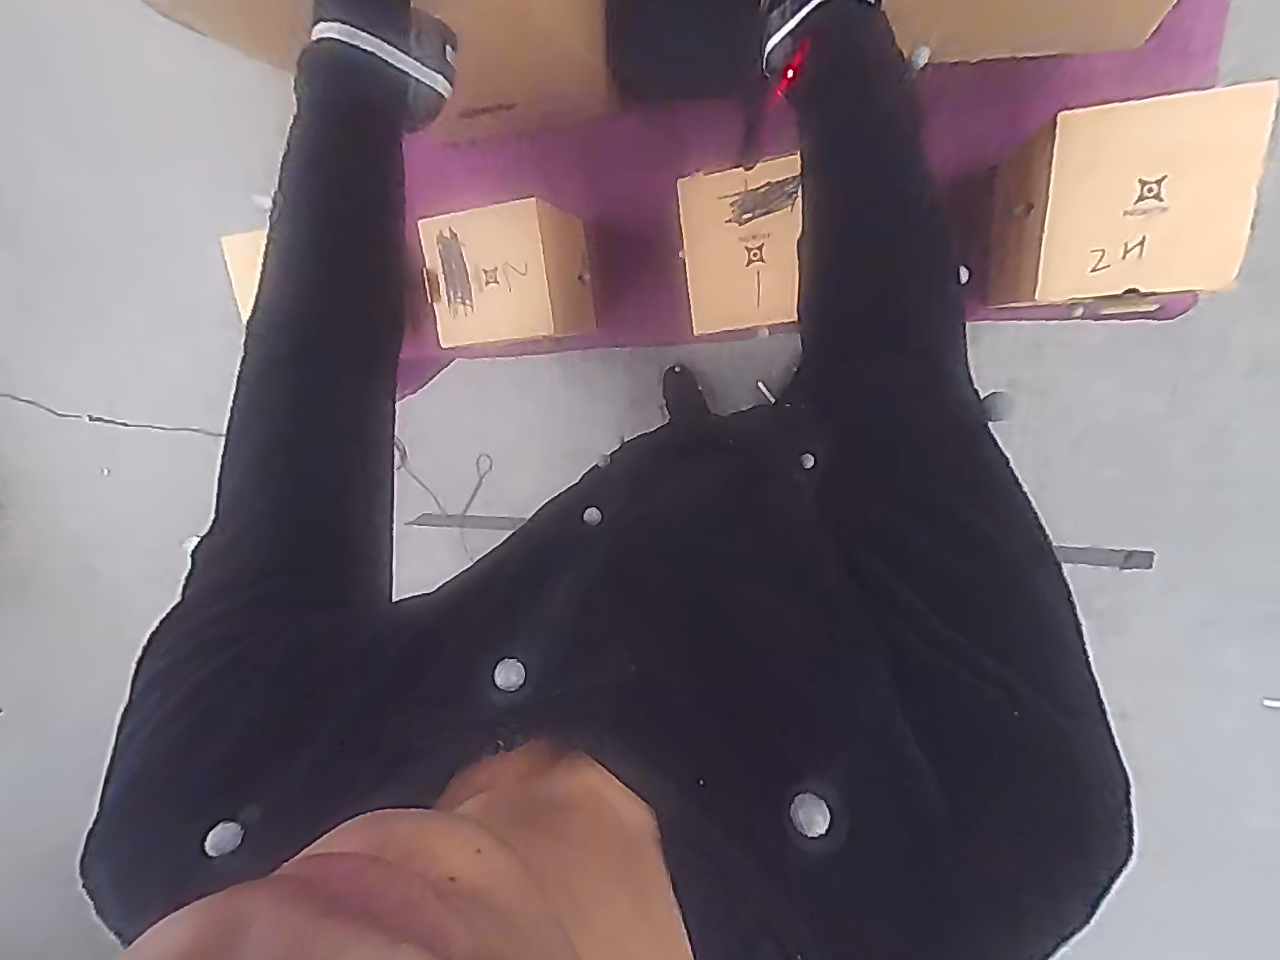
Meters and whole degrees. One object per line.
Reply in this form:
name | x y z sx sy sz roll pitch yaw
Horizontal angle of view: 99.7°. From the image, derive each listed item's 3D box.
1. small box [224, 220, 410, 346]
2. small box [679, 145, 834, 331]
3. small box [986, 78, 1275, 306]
small box | -0.507 -0.305 0.869 0.179 0.176 0.168 -1 105 15
small box | 0.152 -0.288 0.685 0.168 0.176 0.179 -3 106 18
small box | 0.497 -0.287 0.583 0.168 0.176 0.179 2 106 17
